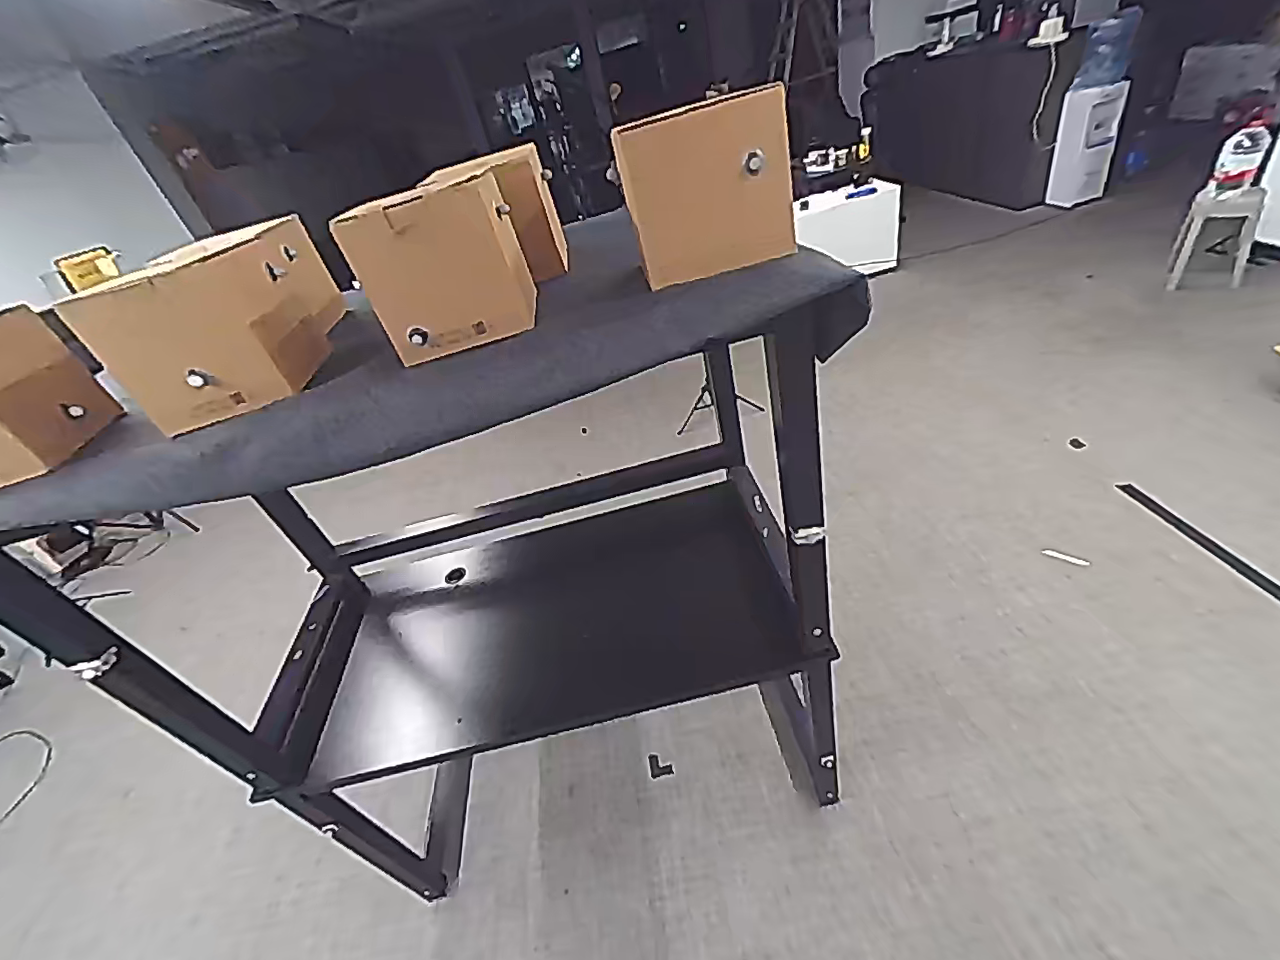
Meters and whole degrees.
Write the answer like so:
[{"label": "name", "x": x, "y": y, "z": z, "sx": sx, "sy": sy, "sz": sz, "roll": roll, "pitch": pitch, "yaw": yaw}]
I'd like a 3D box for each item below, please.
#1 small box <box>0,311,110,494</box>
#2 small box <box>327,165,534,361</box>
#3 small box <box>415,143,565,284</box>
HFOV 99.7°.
[{"label": "small box", "x": -0.832, "y": -0.084, "z": 0.670, "sx": 0.168, "sy": 0.176, "sz": 0.179, "roll": -19, "pitch": 37, "yaw": -4}, {"label": "small box", "x": -0.236, "y": -0.263, "z": 0.666, "sx": 0.168, "sy": 0.176, "sz": 0.179, "roll": -17, "pitch": 35, "yaw": 1}, {"label": "small box", "x": -0.221, "y": -0.404, "z": 0.847, "sx": 0.168, "sy": 0.176, "sz": 0.179, "roll": -15, "pitch": 38, "yaw": 3}]
